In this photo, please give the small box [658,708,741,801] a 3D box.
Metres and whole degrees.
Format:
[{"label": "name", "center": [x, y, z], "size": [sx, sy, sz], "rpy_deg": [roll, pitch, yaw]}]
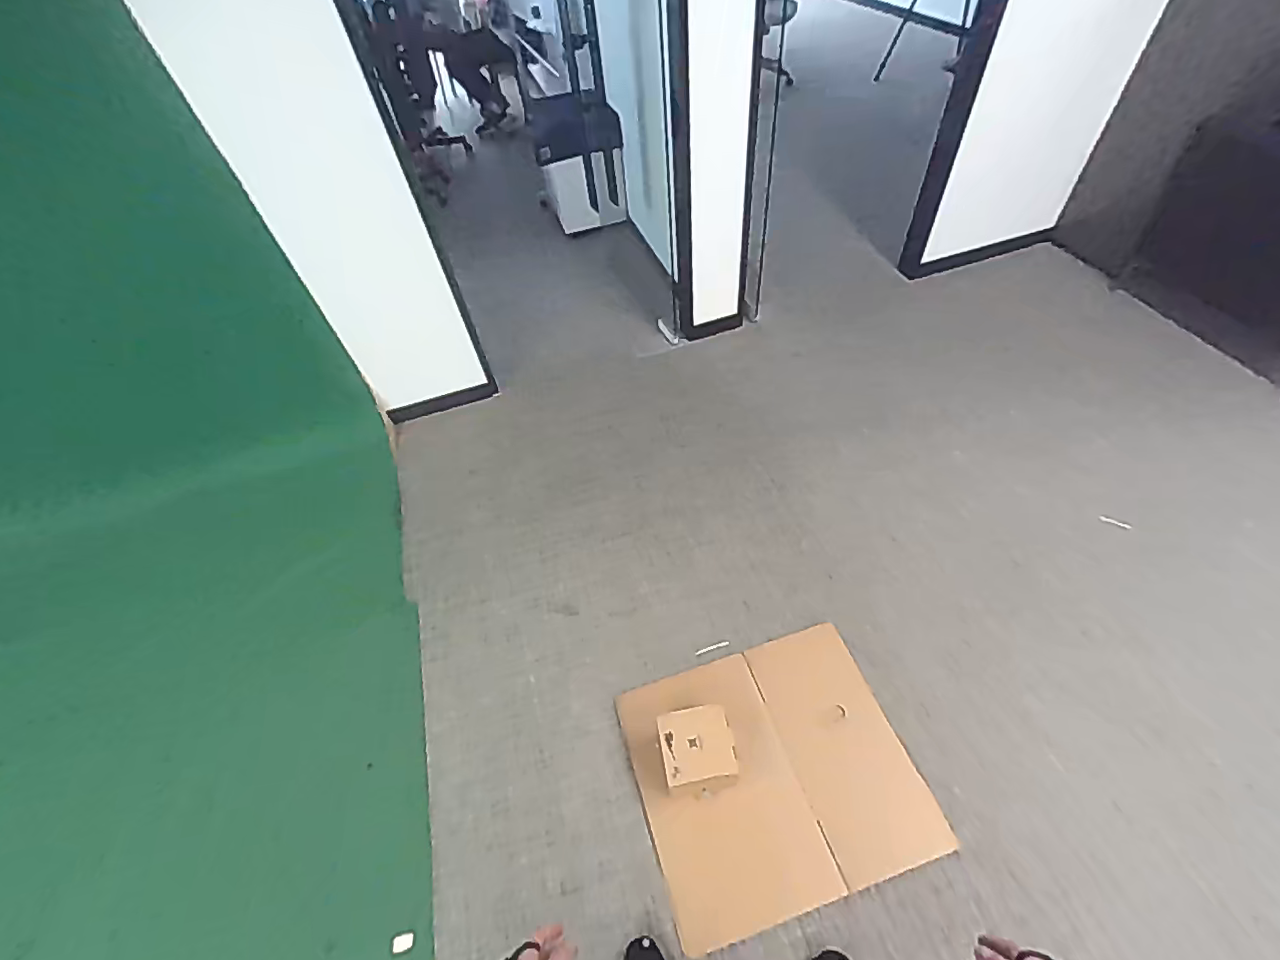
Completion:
[{"label": "small box", "center": [0.147, 0.704, 1.382], "size": [0.179, 0.176, 0.168], "rpy_deg": [-10, 51, -2]}]
